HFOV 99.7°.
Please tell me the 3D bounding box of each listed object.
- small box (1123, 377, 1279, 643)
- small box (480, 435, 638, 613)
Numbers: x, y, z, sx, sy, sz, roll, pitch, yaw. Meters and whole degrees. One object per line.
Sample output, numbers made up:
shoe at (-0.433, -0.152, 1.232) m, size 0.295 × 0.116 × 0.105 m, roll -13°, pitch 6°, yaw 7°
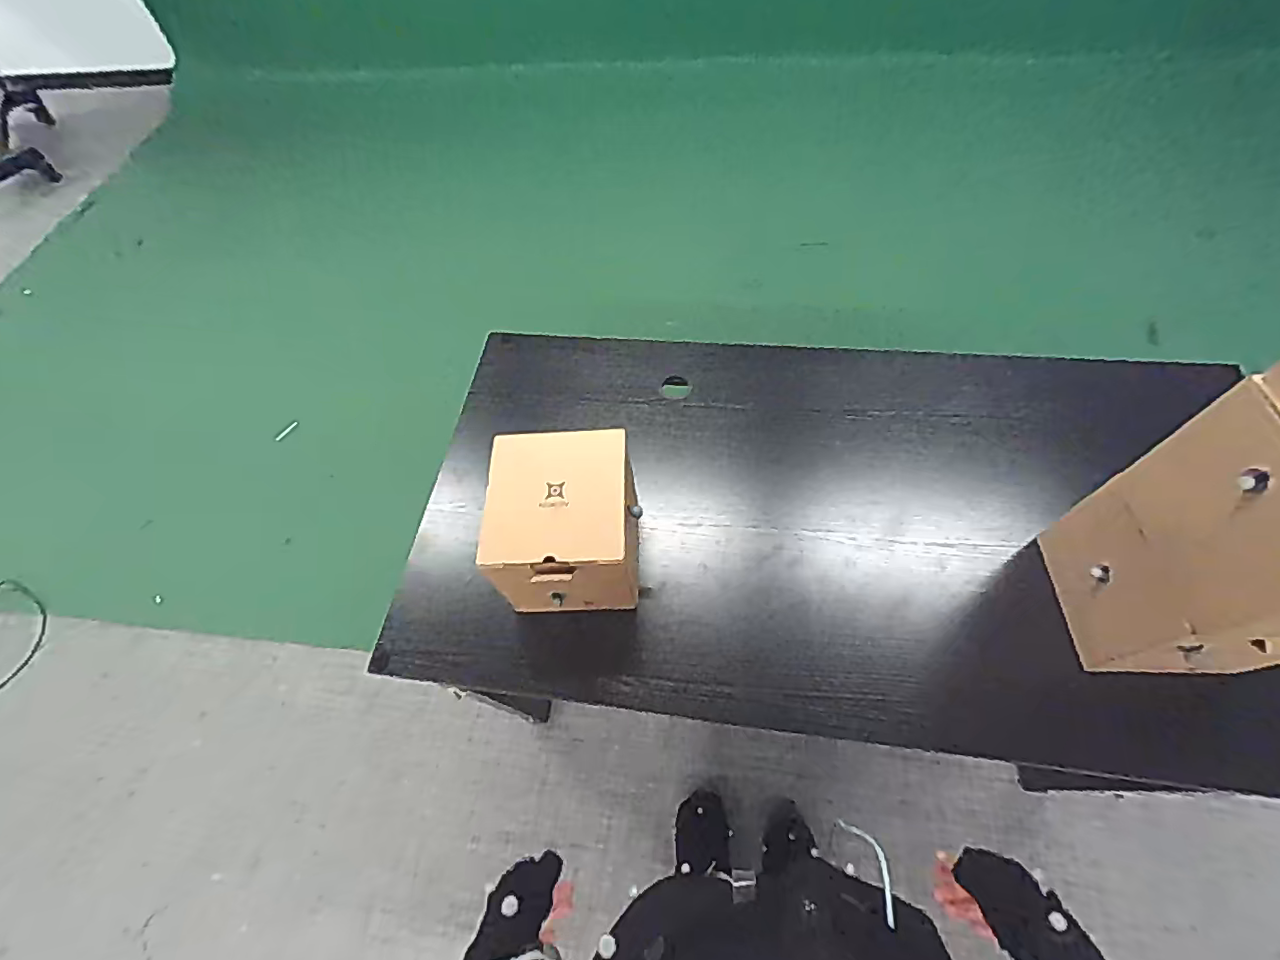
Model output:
small box at (0.580, 0.029, 0.462) m, size 0.168 × 0.176 × 0.179 m, roll -3°, pitch 60°, yaw 4°
small box at (-0.091, 0.062, 0.699) m, size 0.168 × 0.176 × 0.179 m, roll -3°, pitch 61°, yaw 3°
